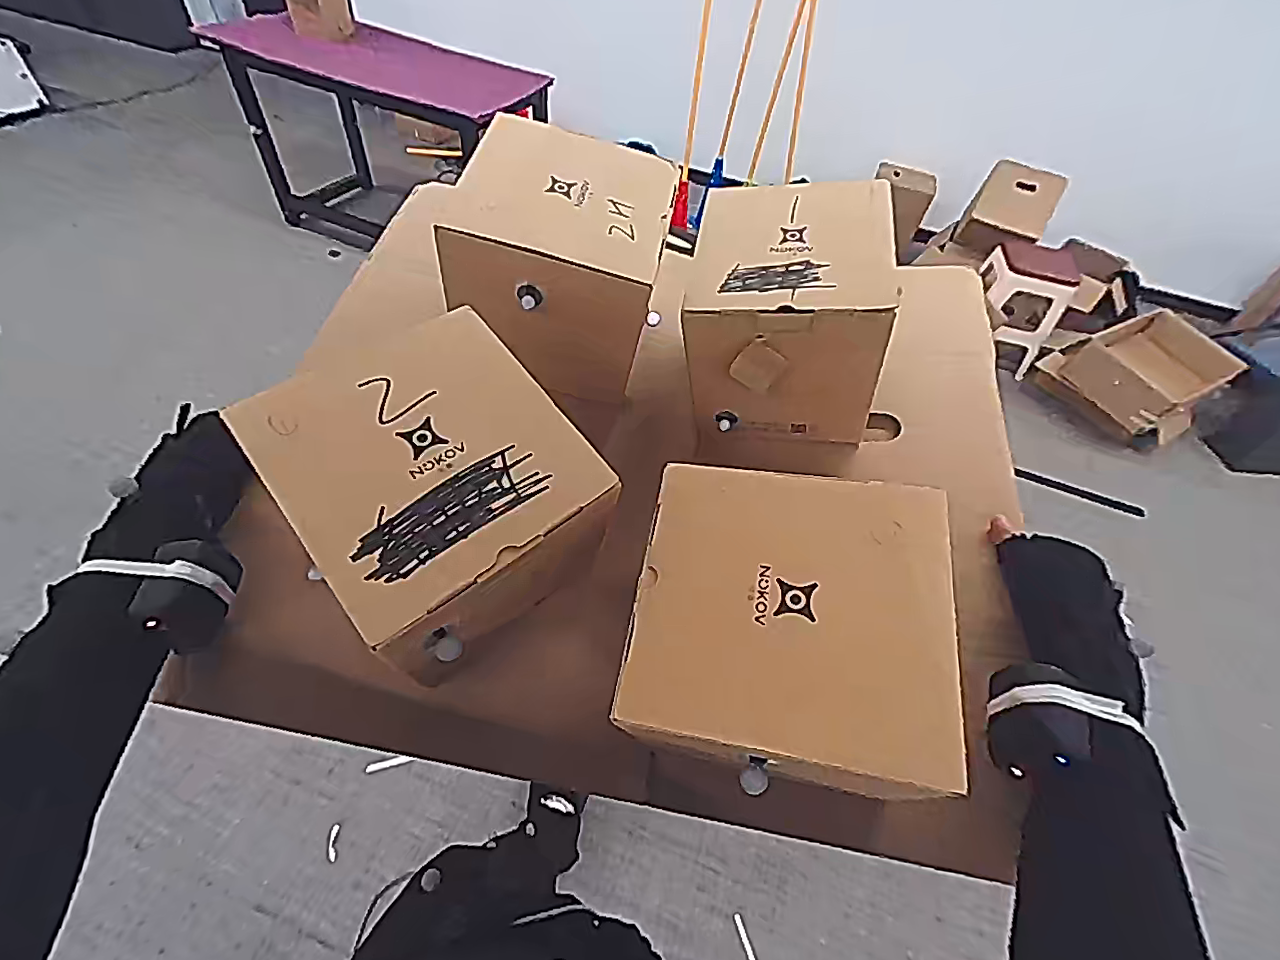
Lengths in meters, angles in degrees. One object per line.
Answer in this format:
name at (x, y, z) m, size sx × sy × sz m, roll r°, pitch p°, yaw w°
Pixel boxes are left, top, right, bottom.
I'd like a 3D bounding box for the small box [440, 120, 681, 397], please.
small box at (-0.074, -0.206, 0.535) m, size 0.179 × 0.176 × 0.168 m, roll 15°, pitch 61°, yaw -5°
